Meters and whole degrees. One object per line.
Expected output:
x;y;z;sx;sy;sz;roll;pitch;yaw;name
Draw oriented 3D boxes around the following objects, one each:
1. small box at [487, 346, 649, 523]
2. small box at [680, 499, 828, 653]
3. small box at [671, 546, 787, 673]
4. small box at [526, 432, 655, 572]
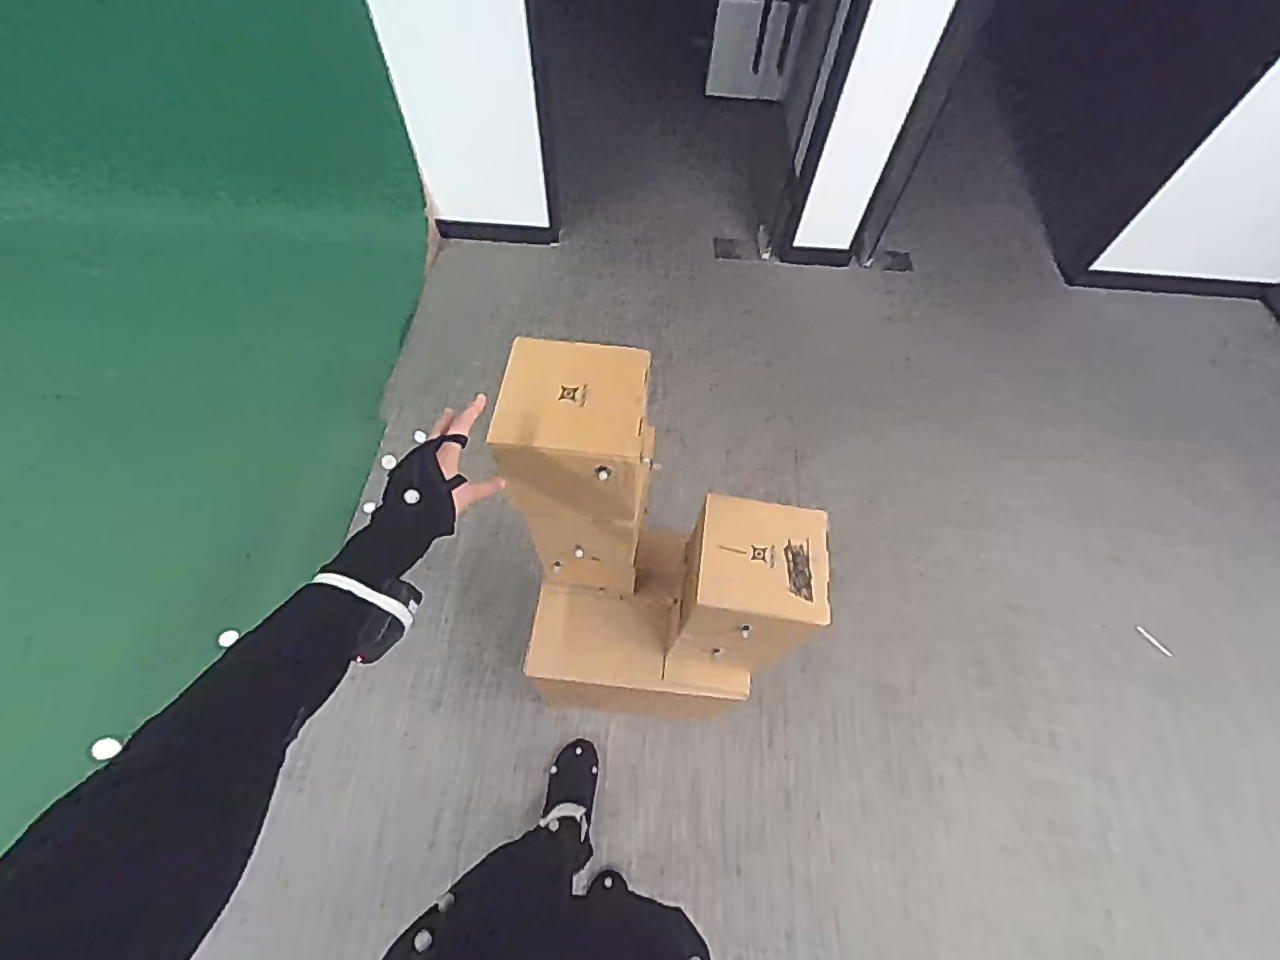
-0.084;-0.054;0.721;0.179;0.176;0.168;5;60;1;small box
0.162;0.149;0.800;0.179;0.176;0.168;9;60;2;small box
0.151;0.231;0.942;0.179;0.176;0.168;8;62;2;small box
-0.075;0.026;0.863;0.168;0.176;0.179;10;60;4;small box
